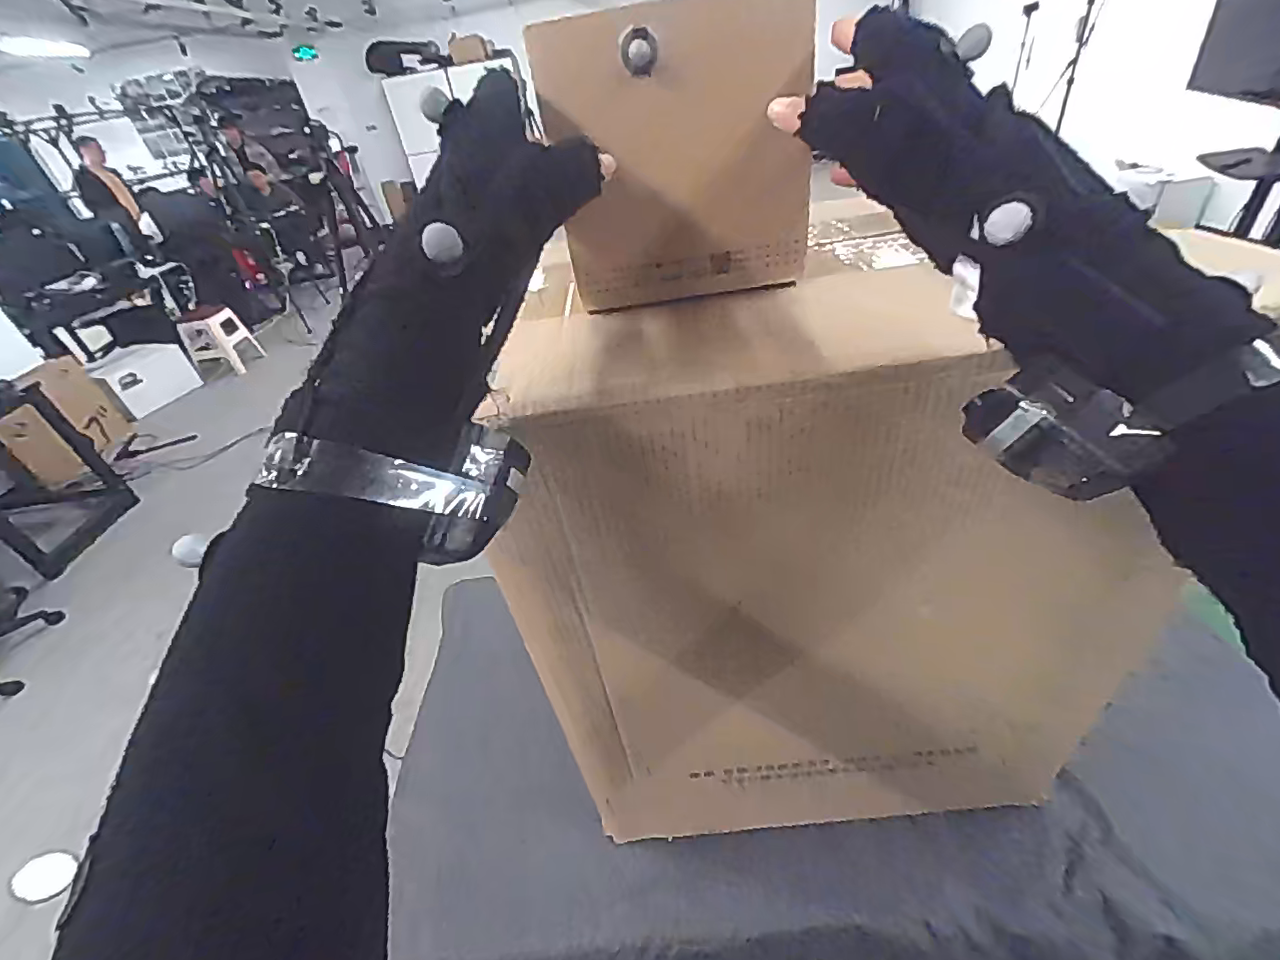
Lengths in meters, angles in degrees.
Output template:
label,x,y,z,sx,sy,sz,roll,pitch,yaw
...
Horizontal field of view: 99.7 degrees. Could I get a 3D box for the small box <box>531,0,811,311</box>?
label,x,y,z,sx,sy,sz,roll,pitch,yaw
small box,0.028,-0.246,0.423,0.168,0.176,0.179,-7,36,5
